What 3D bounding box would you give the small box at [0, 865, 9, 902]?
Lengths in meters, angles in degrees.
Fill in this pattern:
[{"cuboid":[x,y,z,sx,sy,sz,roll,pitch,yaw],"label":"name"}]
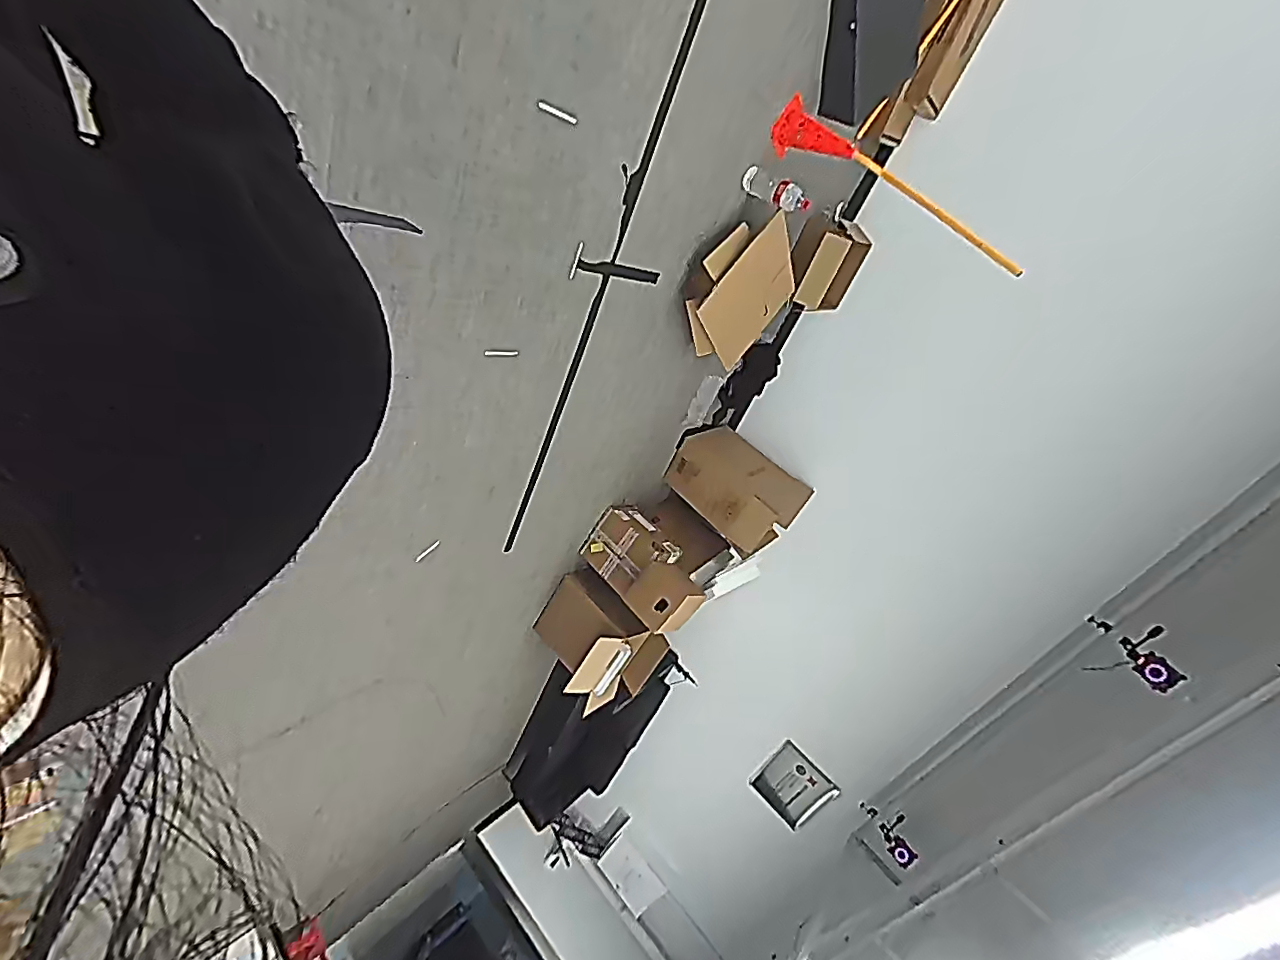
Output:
[{"cuboid":[-1.645,0.940,1.267,0.179,0.176,0.168,-17,139,-49],"label":"small box"}]
